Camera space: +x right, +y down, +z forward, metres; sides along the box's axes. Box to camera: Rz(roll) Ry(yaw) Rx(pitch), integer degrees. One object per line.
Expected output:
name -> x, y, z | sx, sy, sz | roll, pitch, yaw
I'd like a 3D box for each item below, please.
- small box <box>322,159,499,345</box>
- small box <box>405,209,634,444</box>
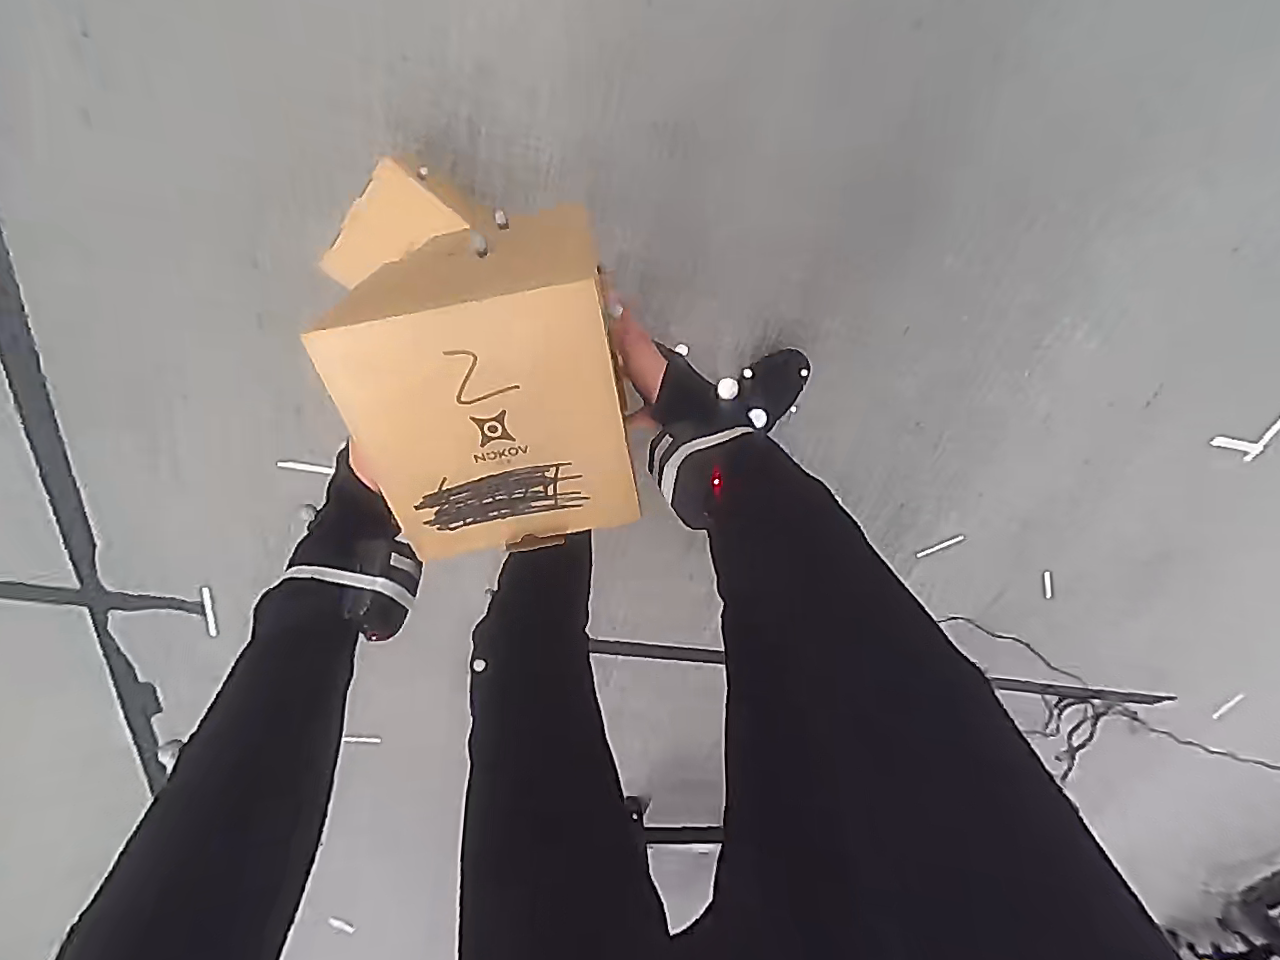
small box -> -0.293, -0.320, 0.756 | 0.179, 0.176, 0.168 | 35, 110, -25
small box -> -0.108, -0.164, 0.548 | 0.168, 0.176, 0.179 | -12, 123, 1
